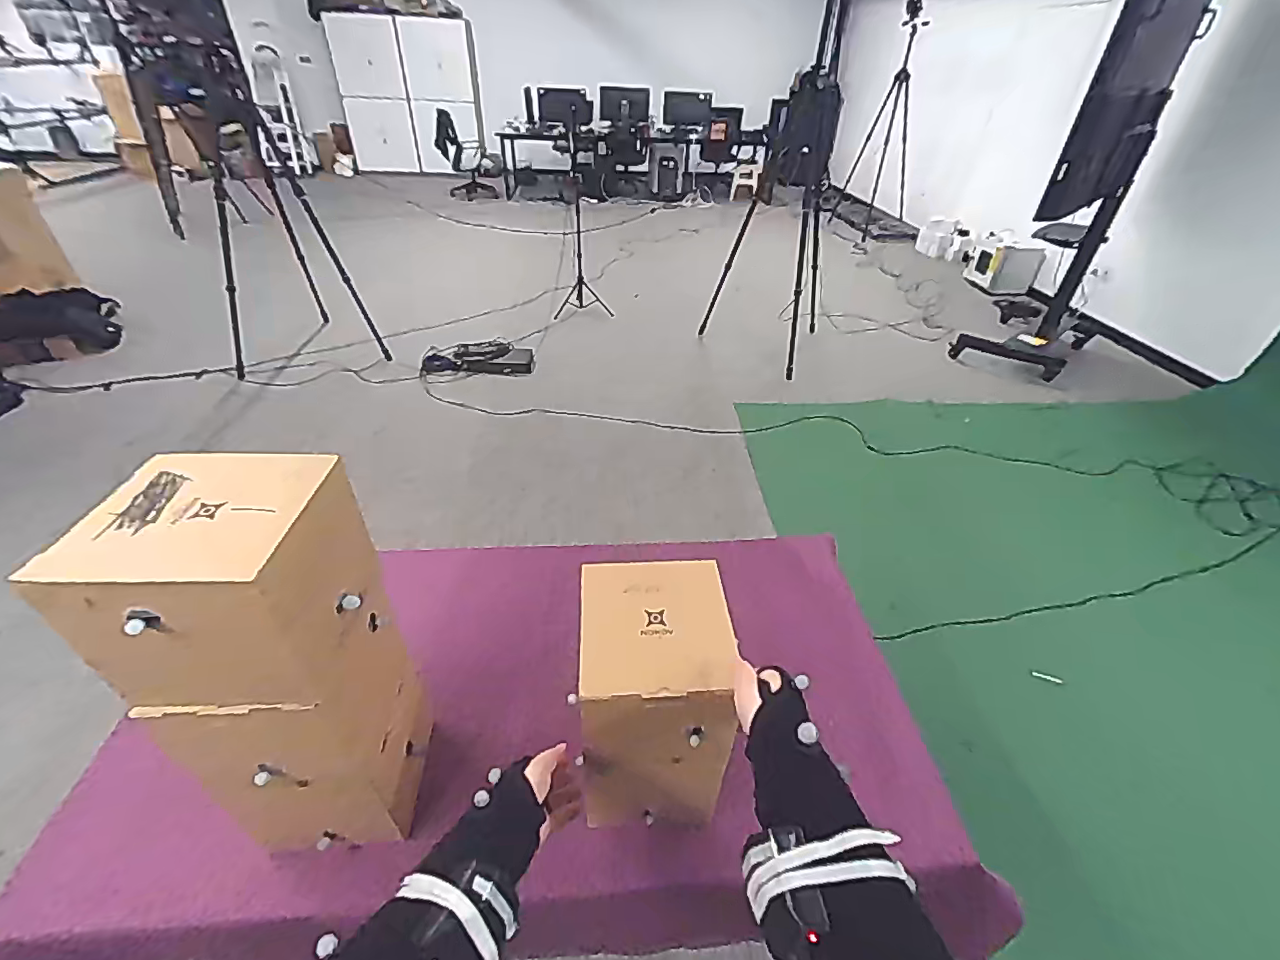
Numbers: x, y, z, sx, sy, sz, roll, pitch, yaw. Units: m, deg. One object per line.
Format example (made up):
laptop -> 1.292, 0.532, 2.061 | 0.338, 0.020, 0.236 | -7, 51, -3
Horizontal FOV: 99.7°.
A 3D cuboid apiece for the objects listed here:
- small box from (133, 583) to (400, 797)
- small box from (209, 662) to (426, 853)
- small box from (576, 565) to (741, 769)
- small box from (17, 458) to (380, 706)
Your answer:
small box -> -0.388, 0.226, 0.608 | 0.168, 0.176, 0.179 | -1, 38, -4
small box -> -0.394, 0.359, 0.705 | 0.179, 0.176, 0.168 | -1, 37, -6
small box -> 0.013, 0.222, 0.639 | 0.168, 0.176, 0.179 | -1, 38, -5
small box -> -0.377, 0.095, 0.509 | 0.179, 0.176, 0.168 | 1, 38, -4
